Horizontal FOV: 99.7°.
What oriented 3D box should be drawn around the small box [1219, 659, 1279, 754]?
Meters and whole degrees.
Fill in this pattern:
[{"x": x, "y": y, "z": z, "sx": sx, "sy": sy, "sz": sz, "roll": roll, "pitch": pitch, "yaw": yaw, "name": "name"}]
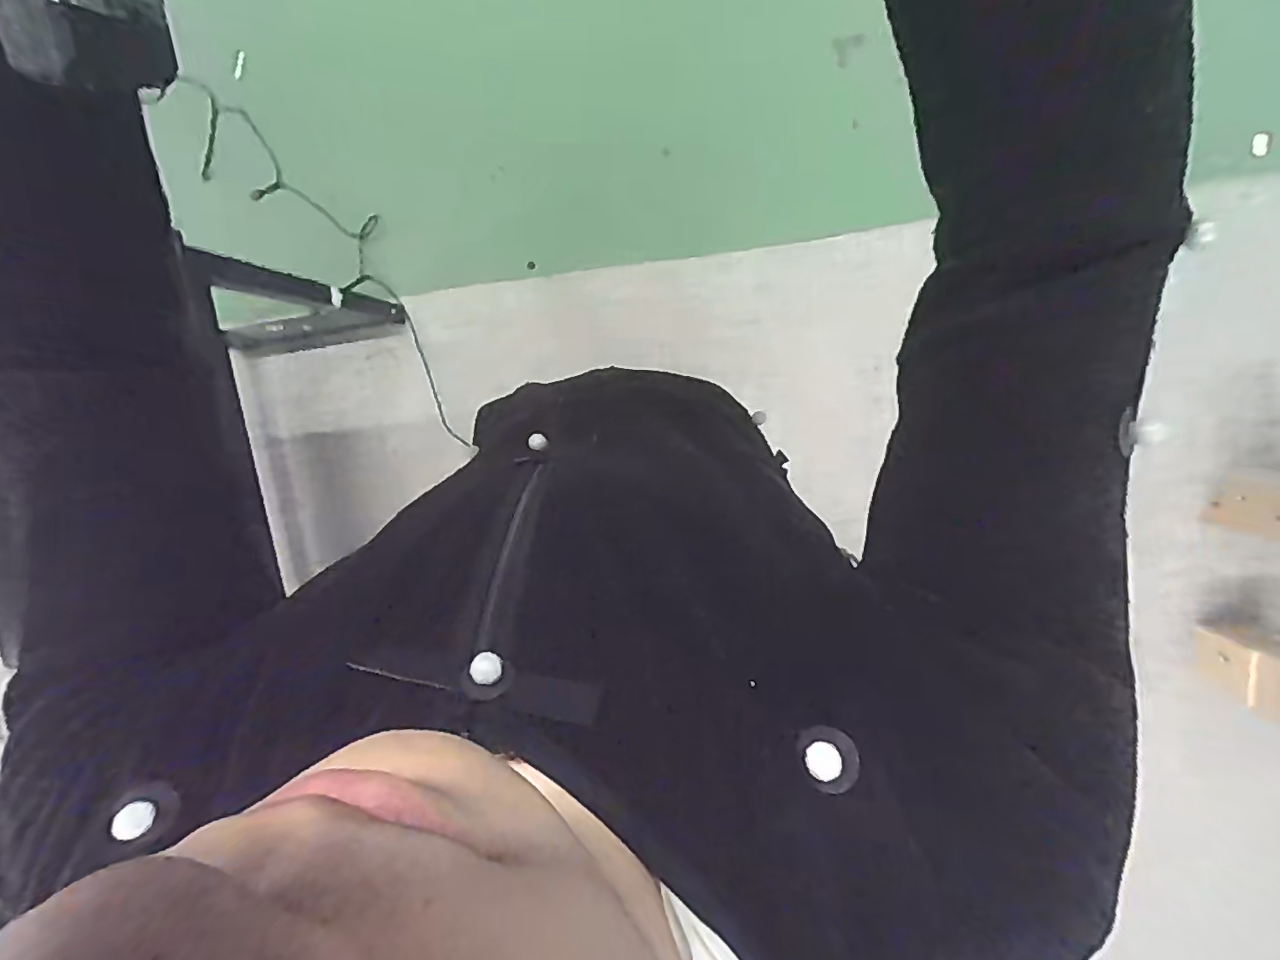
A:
[{"x": 1.586, "y": 0.553, "z": 1.321, "sx": 0.168, "sy": 0.176, "sz": 0.179, "roll": -2, "pitch": 99, "yaw": 5, "name": "small box"}]
